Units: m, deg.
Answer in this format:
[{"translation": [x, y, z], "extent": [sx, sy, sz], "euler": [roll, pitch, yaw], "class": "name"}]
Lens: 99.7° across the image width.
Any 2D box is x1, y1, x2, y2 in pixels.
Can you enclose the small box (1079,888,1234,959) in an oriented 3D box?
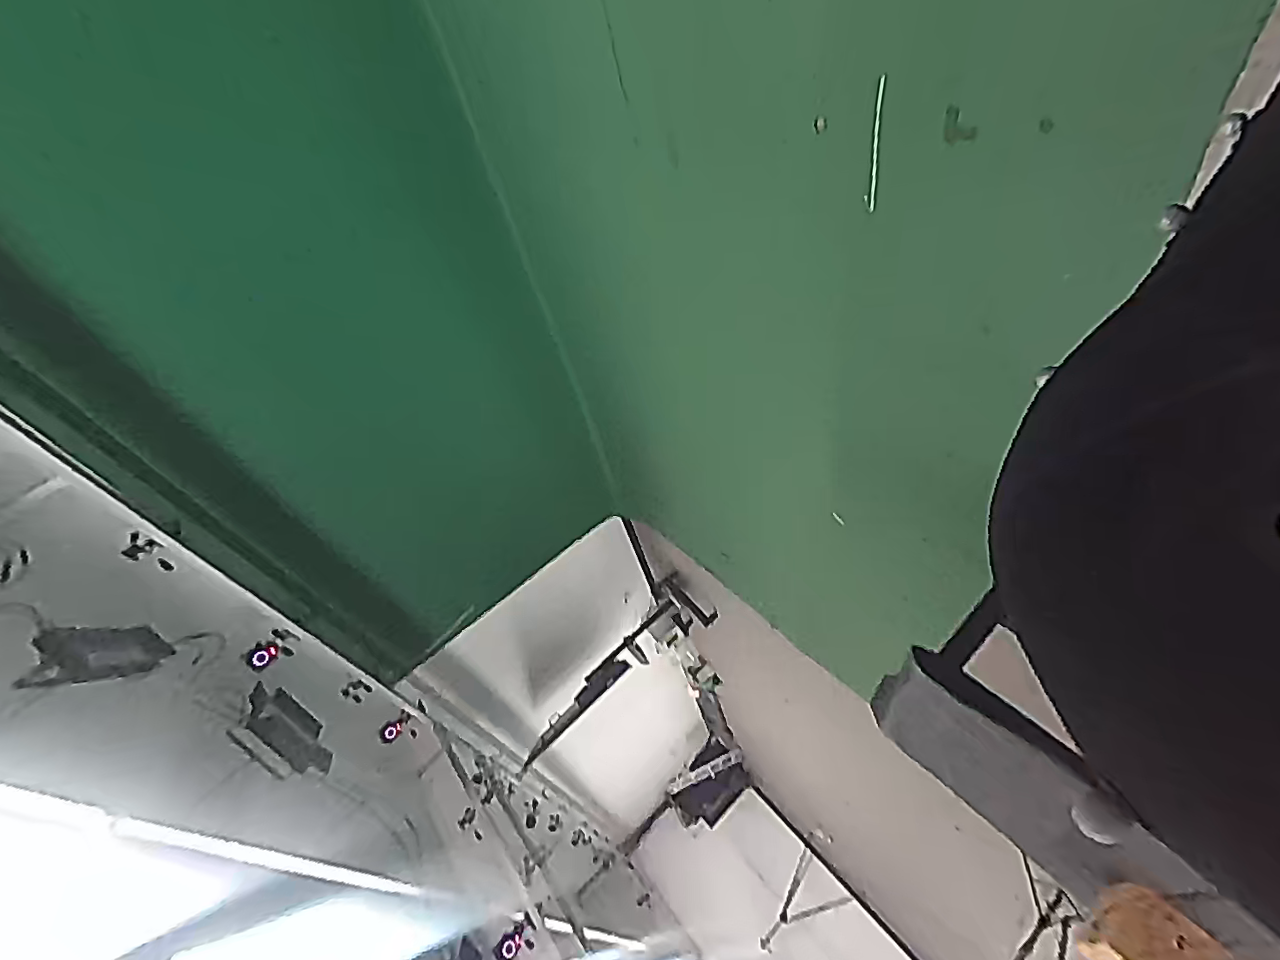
[{"translation": [1.123, 1.034, 1.178], "extent": [0.168, 0.176, 0.179], "euler": [39, 157, 36], "class": "small box"}]
